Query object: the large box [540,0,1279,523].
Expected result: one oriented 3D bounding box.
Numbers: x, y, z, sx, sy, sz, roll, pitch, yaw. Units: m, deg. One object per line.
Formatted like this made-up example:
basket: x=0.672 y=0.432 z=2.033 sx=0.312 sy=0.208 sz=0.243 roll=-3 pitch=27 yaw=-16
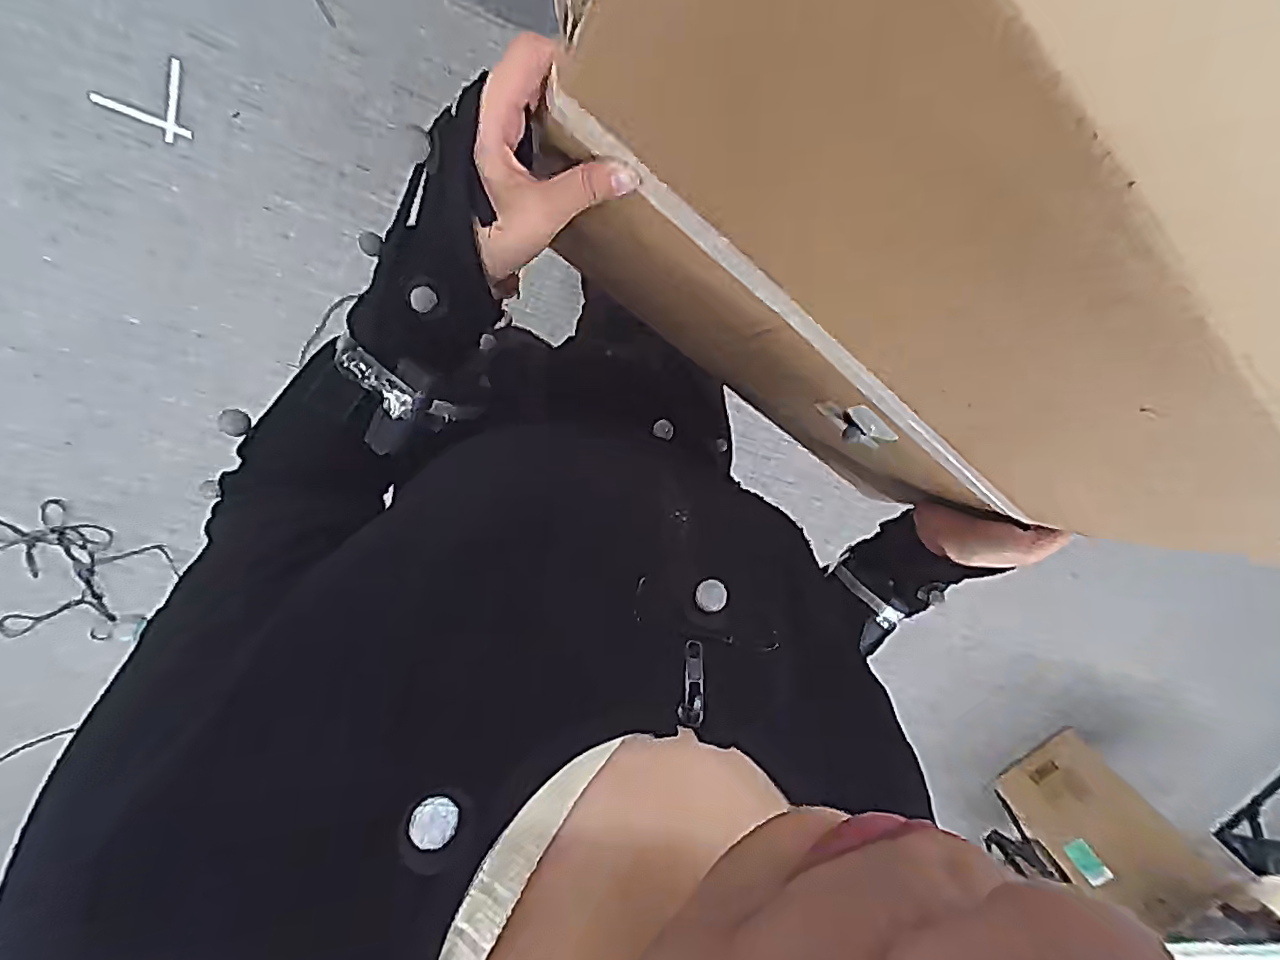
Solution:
large box: x=0.214 y=-0.217 z=0.302 sx=0.408 sy=0.320 sz=0.320 roll=32 pitch=84 yaw=-21
